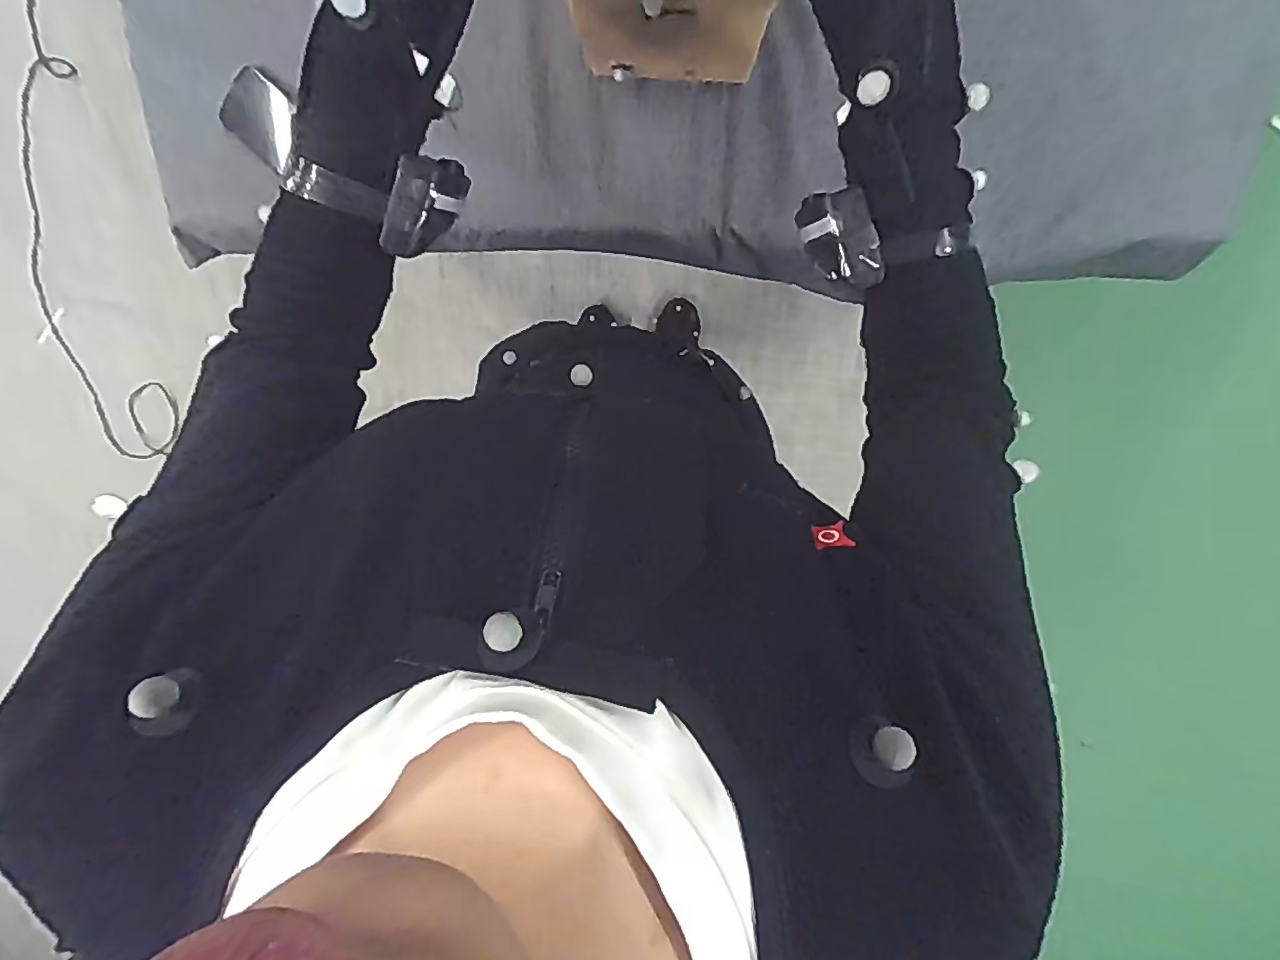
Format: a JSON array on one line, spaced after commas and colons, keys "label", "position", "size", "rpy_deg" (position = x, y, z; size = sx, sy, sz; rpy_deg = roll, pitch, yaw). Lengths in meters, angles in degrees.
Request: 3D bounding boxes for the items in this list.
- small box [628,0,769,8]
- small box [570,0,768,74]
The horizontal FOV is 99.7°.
[{"label": "small box", "position": [0.026, -0.424, 0.315], "size": [0.168, 0.176, 0.179], "rpy_deg": [4, 111, 3]}, {"label": "small box", "position": [0.033, -0.483, 0.465], "size": [0.168, 0.176, 0.179], "rpy_deg": [5, 108, 1]}]
